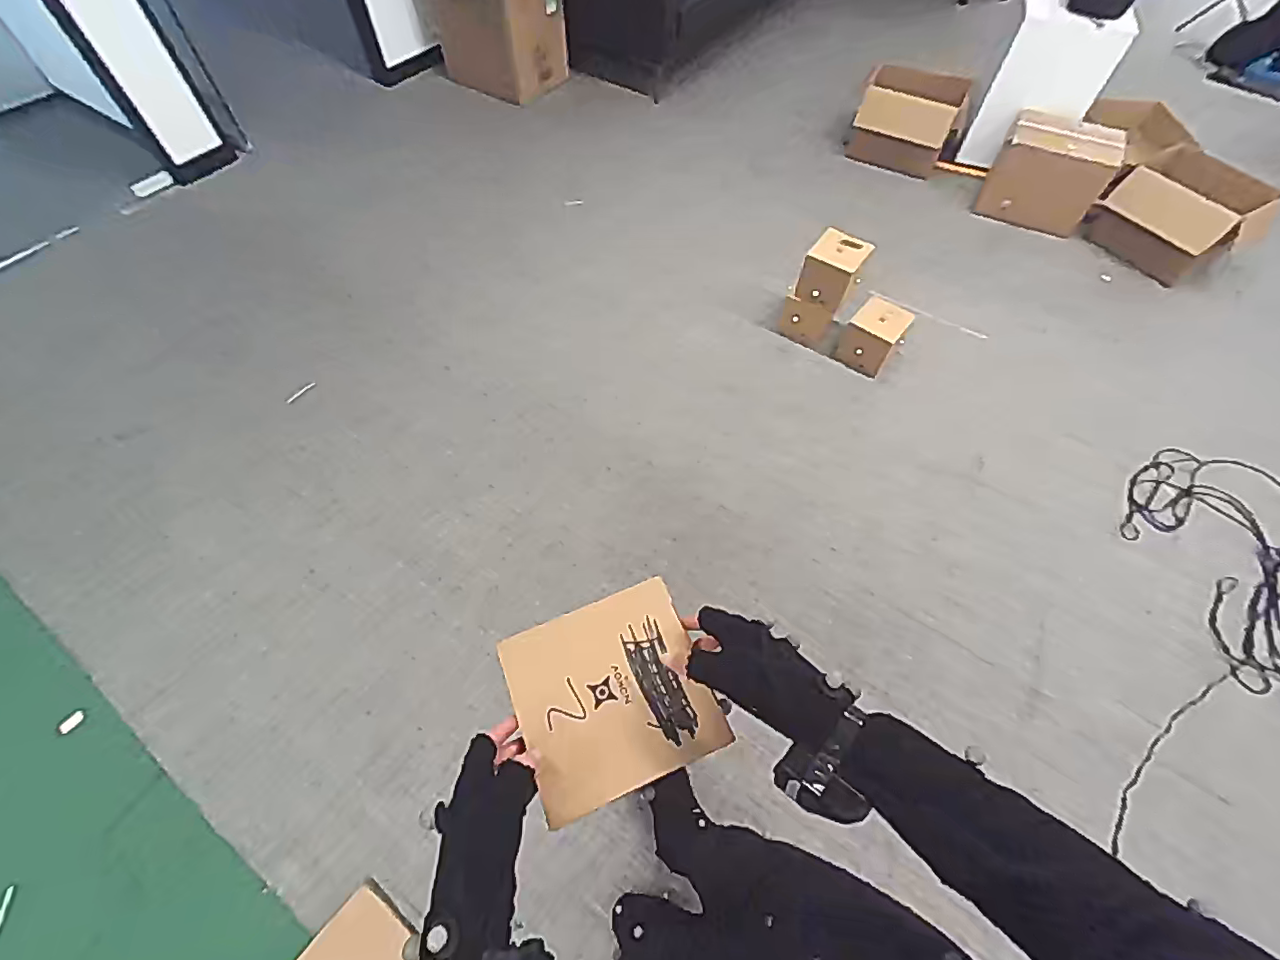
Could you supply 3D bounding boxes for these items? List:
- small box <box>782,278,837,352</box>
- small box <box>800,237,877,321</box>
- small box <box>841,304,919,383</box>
[{"bbox_3d":[0.632,-0.600,1.973,0.168,0.176,0.179,26,61,15],"label":"small box"},{"bbox_3d":[0.663,-0.677,1.827,0.168,0.176,0.179,32,63,19],"label":"small box"},{"bbox_3d":[0.830,-0.473,1.891,0.168,0.176,0.179,37,64,20],"label":"small box"}]
